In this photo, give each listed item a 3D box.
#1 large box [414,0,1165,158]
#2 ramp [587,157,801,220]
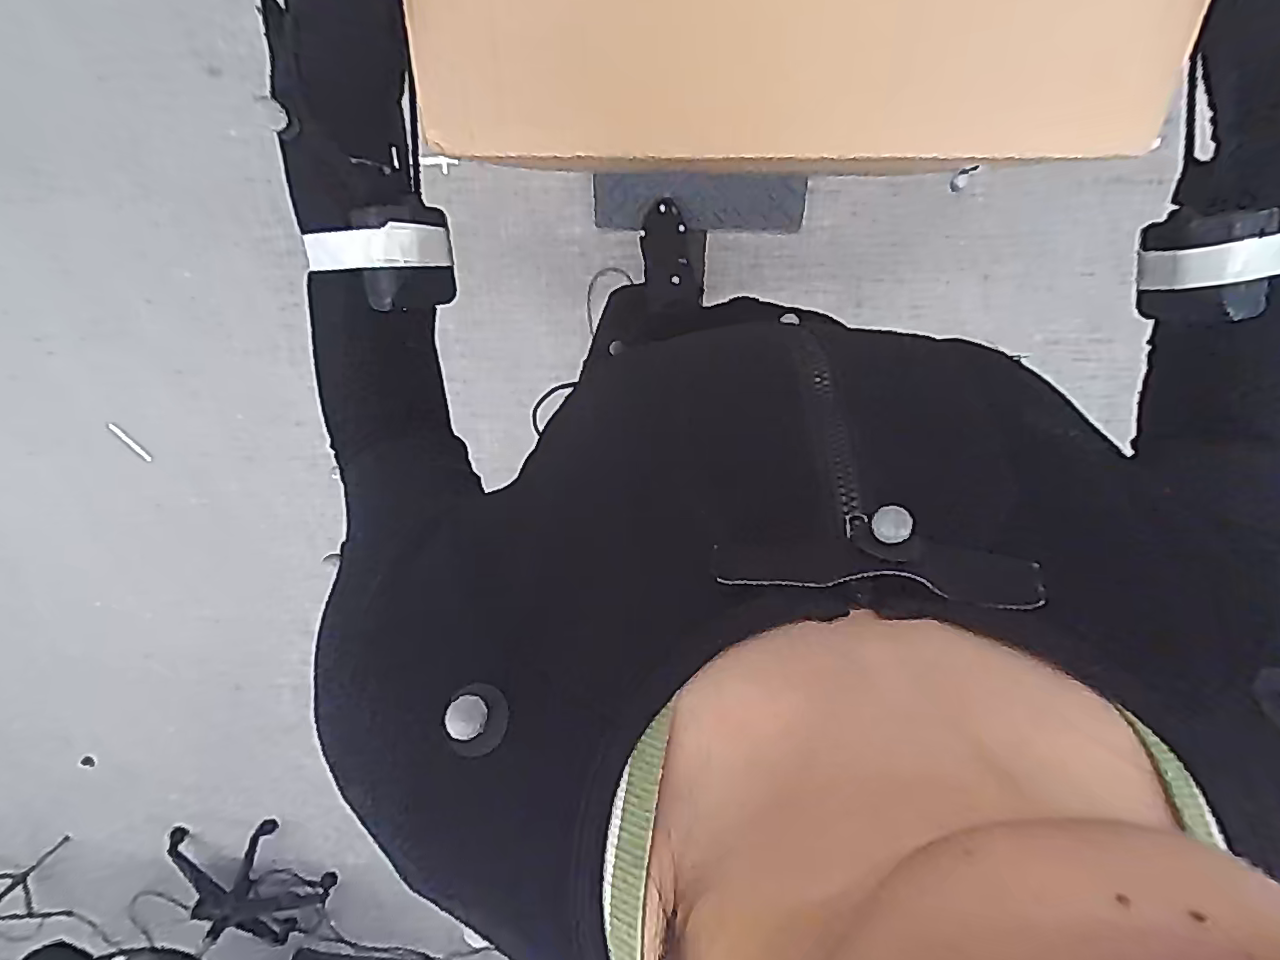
[{"bbox_3d":[0.082,-0.403,0.371,0.408,0.320,0.320,1,118,0],"label":"large box"},{"bbox_3d":[0.123,-1.051,1.037,0.509,0.206,0.991,-1,111,1],"label":"ramp"}]
